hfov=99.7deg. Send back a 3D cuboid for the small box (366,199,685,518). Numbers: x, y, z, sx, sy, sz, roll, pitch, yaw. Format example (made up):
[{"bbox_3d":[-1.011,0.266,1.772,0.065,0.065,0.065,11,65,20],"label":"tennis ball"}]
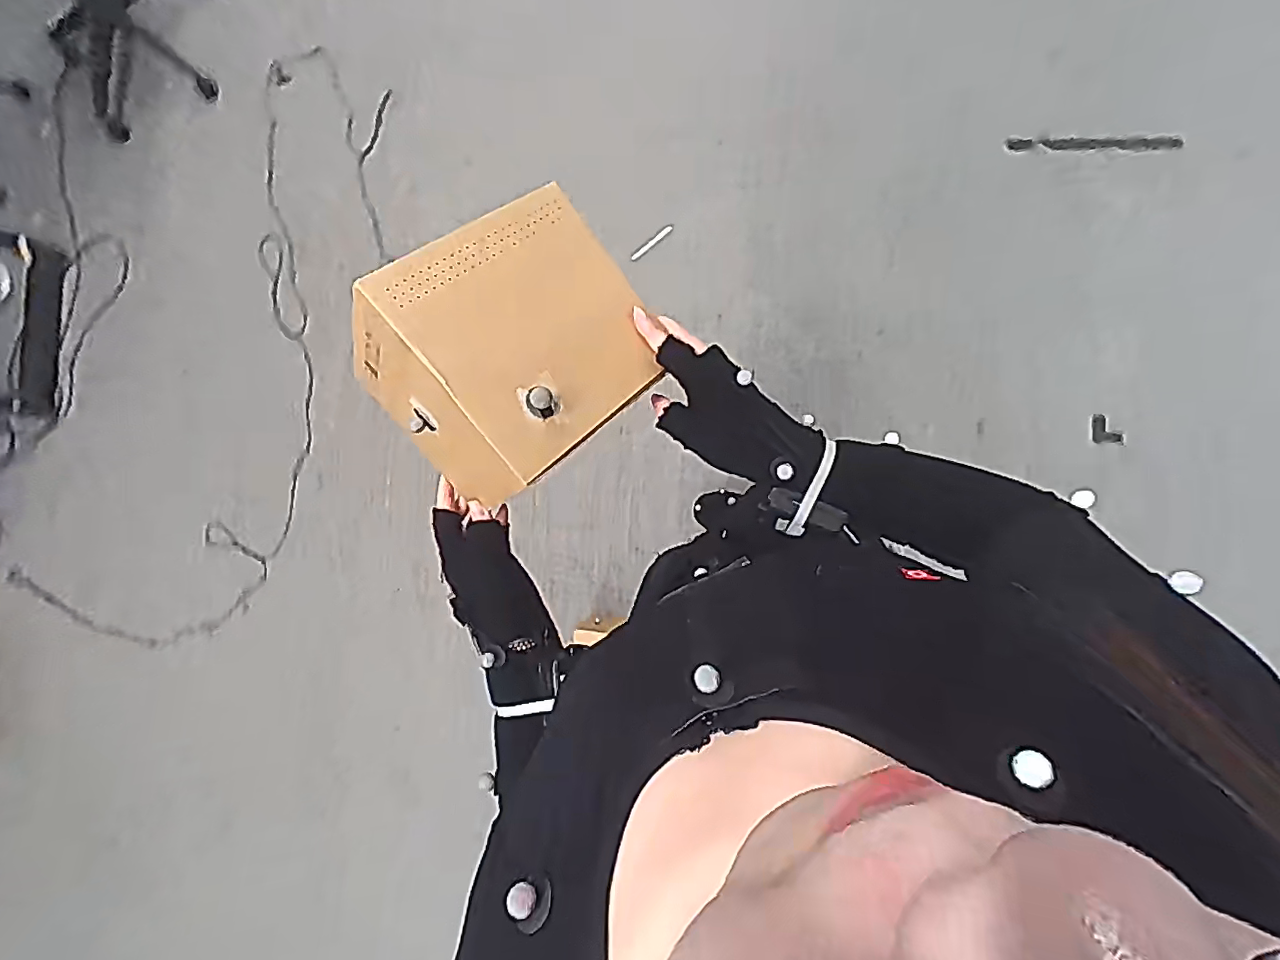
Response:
[{"bbox_3d":[-0.103,-0.093,0.456,0.179,0.168,0.176,-43,102,-27],"label":"small box"}]

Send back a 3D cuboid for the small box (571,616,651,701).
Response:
[{"bbox_3d":[-0.074,0.472,1.458,0.179,0.176,0.168,5,90,9],"label":"small box"}]
